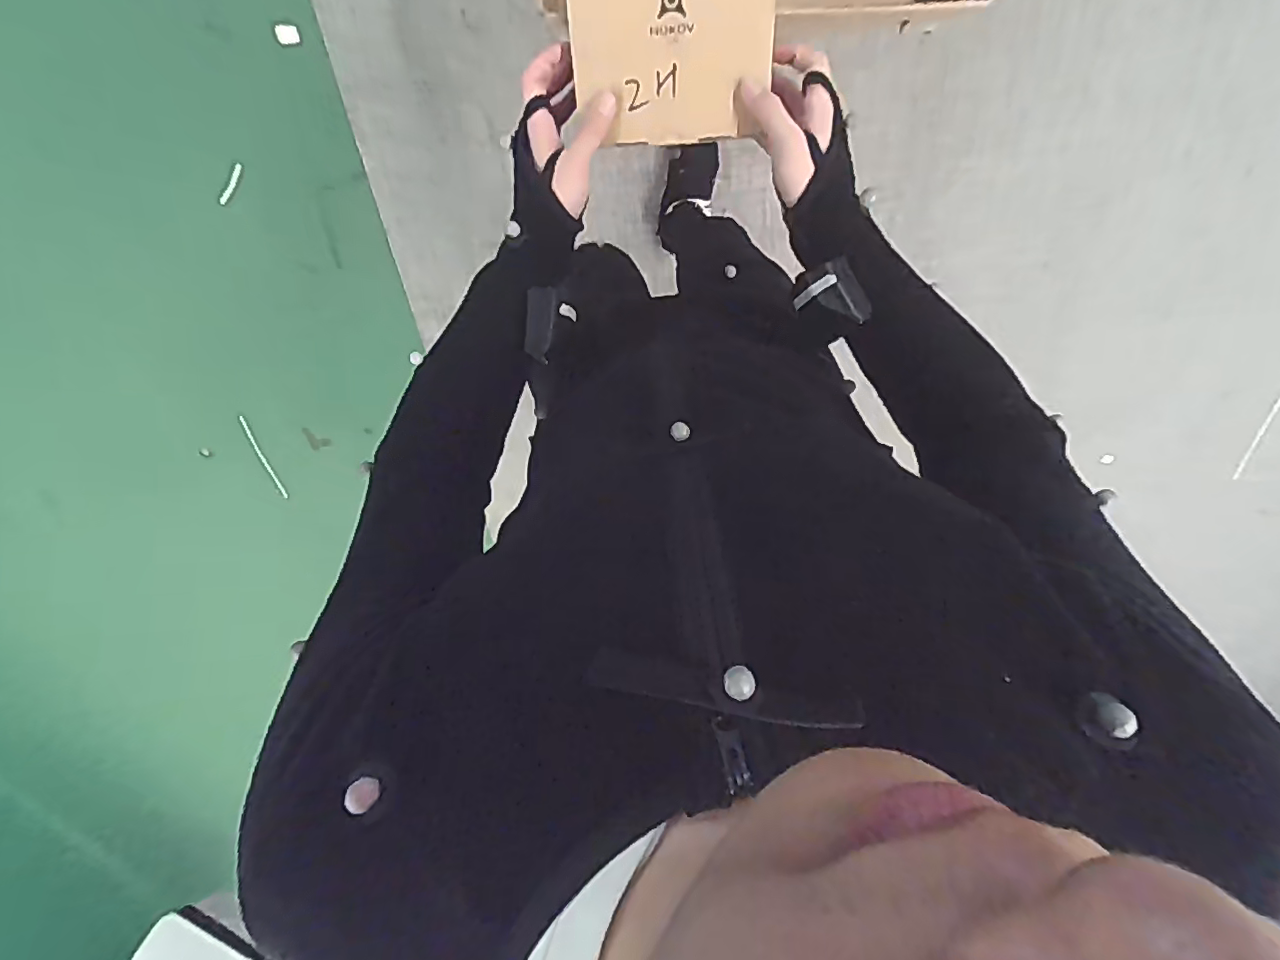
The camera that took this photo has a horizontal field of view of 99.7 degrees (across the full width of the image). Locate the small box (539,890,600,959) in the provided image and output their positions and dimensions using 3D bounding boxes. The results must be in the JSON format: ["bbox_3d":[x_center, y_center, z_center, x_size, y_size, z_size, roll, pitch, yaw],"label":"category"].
[{"bbox_3d":[-0.235,1.539,1.855,0.168,0.176,0.179,-8,124,5],"label":"small box"}]

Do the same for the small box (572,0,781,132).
[{"bbox_3d":[0.031,-0.420,0.484,0.168,0.176,0.179,-1,123,5],"label":"small box"}]
